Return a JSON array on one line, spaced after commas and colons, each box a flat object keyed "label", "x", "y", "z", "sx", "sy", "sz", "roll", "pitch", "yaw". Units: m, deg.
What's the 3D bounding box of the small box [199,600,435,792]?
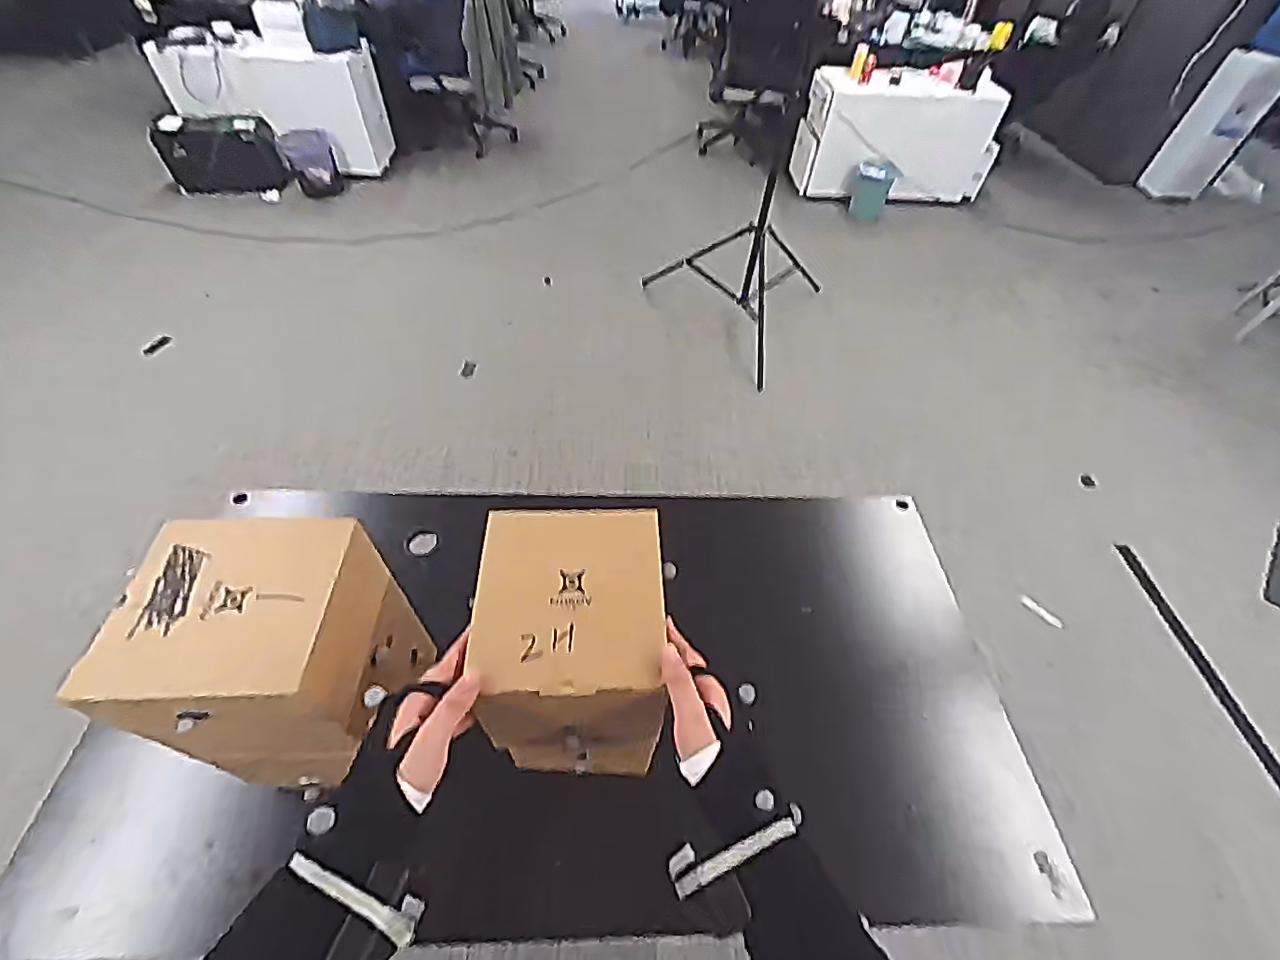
[{"label": "small box", "x": -0.359, "y": 0.259, "z": 0.649, "sx": 0.168, "sy": 0.176, "sz": 0.179, "roll": 0, "pitch": 51, "yaw": -3}]

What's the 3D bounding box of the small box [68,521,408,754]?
[{"label": "small box", "x": -0.351, "y": 0.155, "z": 0.521, "sx": 0.179, "sy": 0.176, "sz": 0.168, "roll": 0, "pitch": 50, "yaw": -4}]

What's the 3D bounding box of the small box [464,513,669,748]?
[{"label": "small box", "x": -0.063, "y": 0.151, "z": 0.540, "sx": 0.168, "sy": 0.176, "sz": 0.179, "roll": 0, "pitch": 50, "yaw": -3}]

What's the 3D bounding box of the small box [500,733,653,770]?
[{"label": "small box", "x": -0.064, "y": 0.250, "z": 0.675, "sx": 0.168, "sy": 0.176, "sz": 0.179, "roll": 3, "pitch": 51, "yaw": -1}]
